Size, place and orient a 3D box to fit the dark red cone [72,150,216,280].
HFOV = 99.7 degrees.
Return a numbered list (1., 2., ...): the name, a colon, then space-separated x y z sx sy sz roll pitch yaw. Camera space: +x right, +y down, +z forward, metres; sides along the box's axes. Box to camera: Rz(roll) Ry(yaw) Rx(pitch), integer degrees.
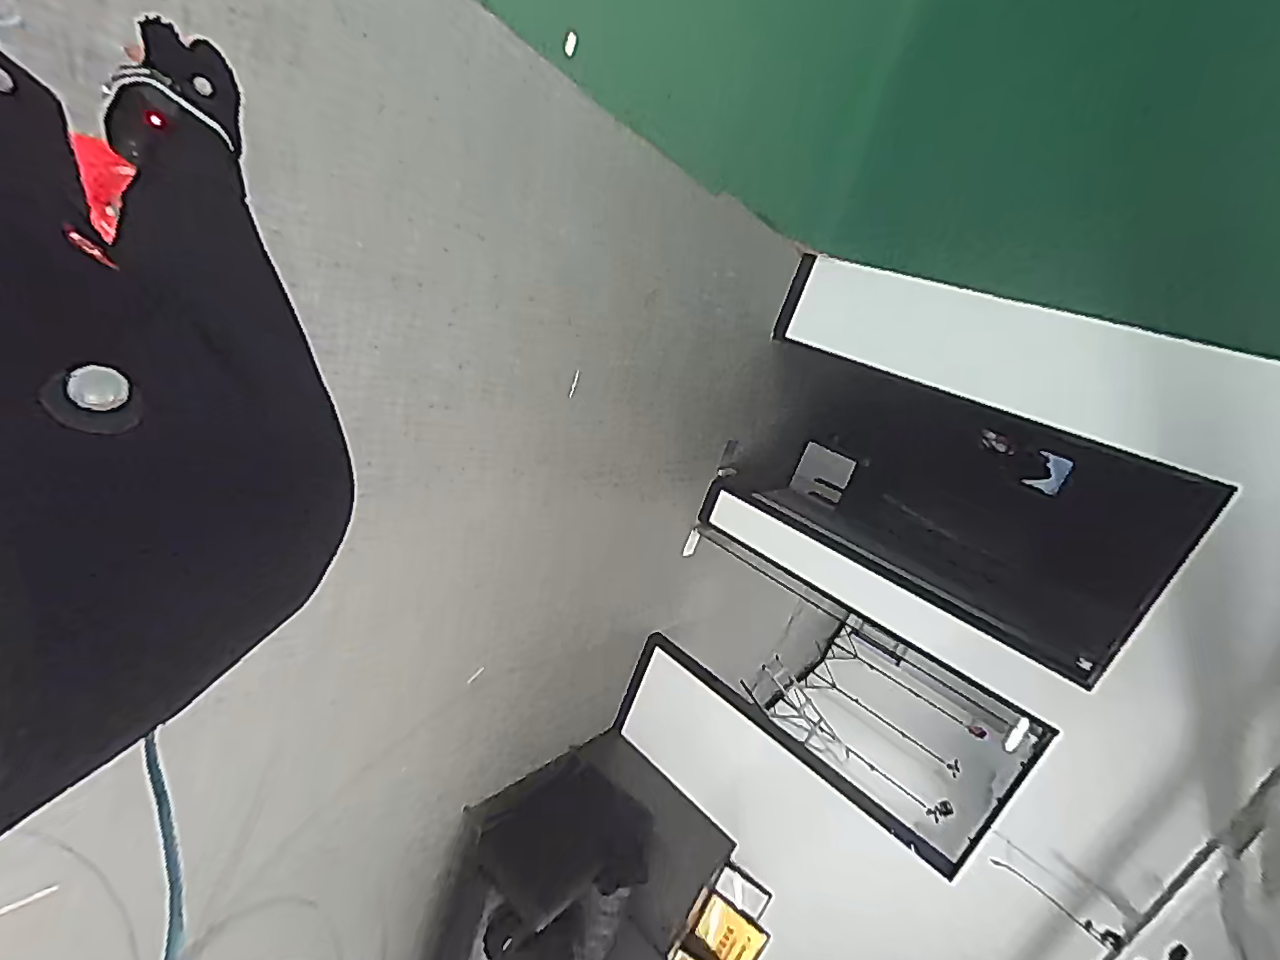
1. dark red cone: -0.815 -0.429 0.941 0.202 0.394 0.201 -10 122 -50
